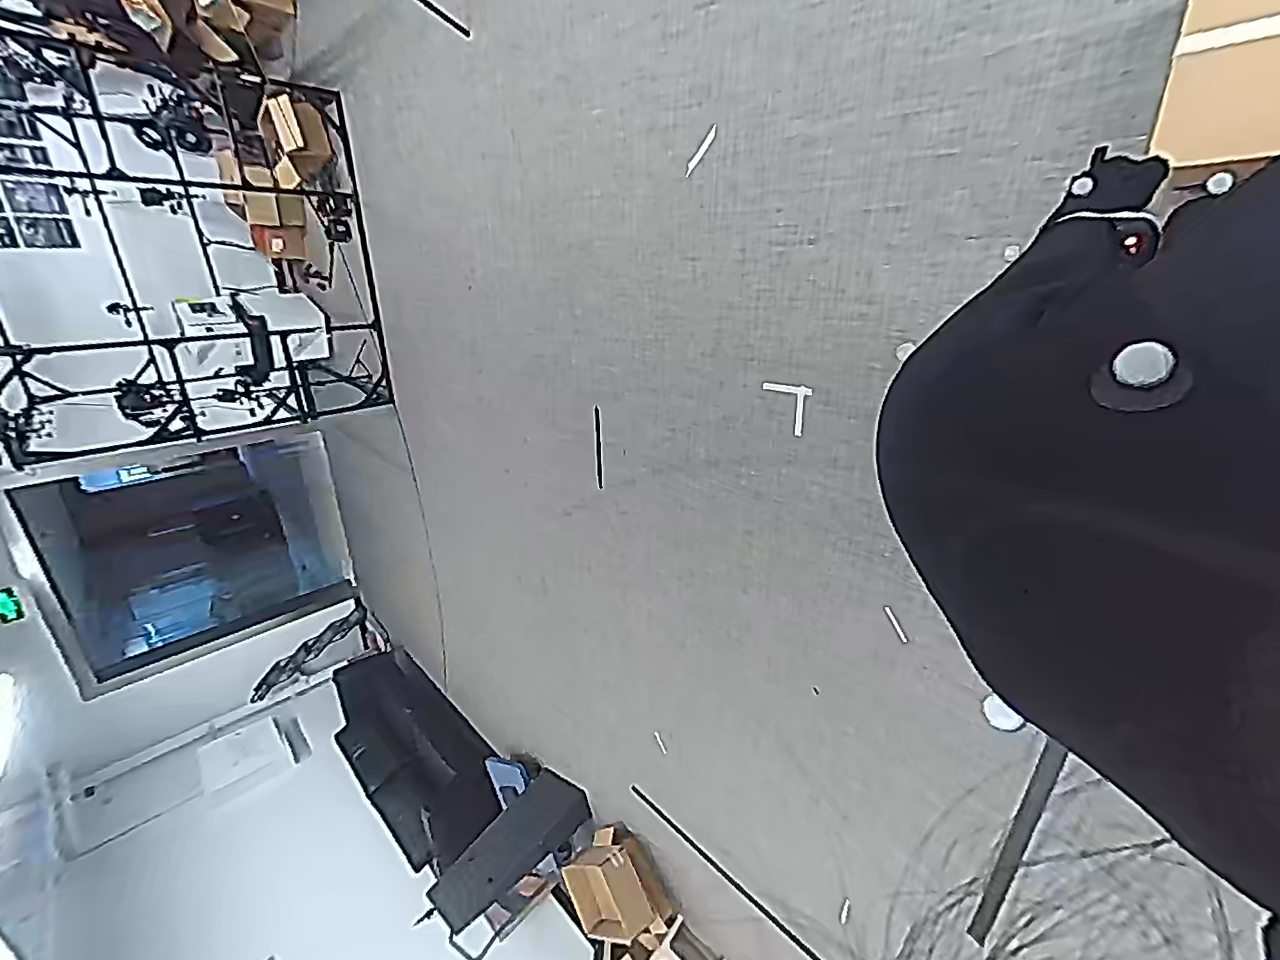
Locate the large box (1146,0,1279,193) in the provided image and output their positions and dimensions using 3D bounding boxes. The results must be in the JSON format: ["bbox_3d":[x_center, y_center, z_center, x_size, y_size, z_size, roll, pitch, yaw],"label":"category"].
[{"bbox_3d":[1.015,-0.605,0.743,0.408,0.320,0.320,19,119,42],"label":"large box"}]
